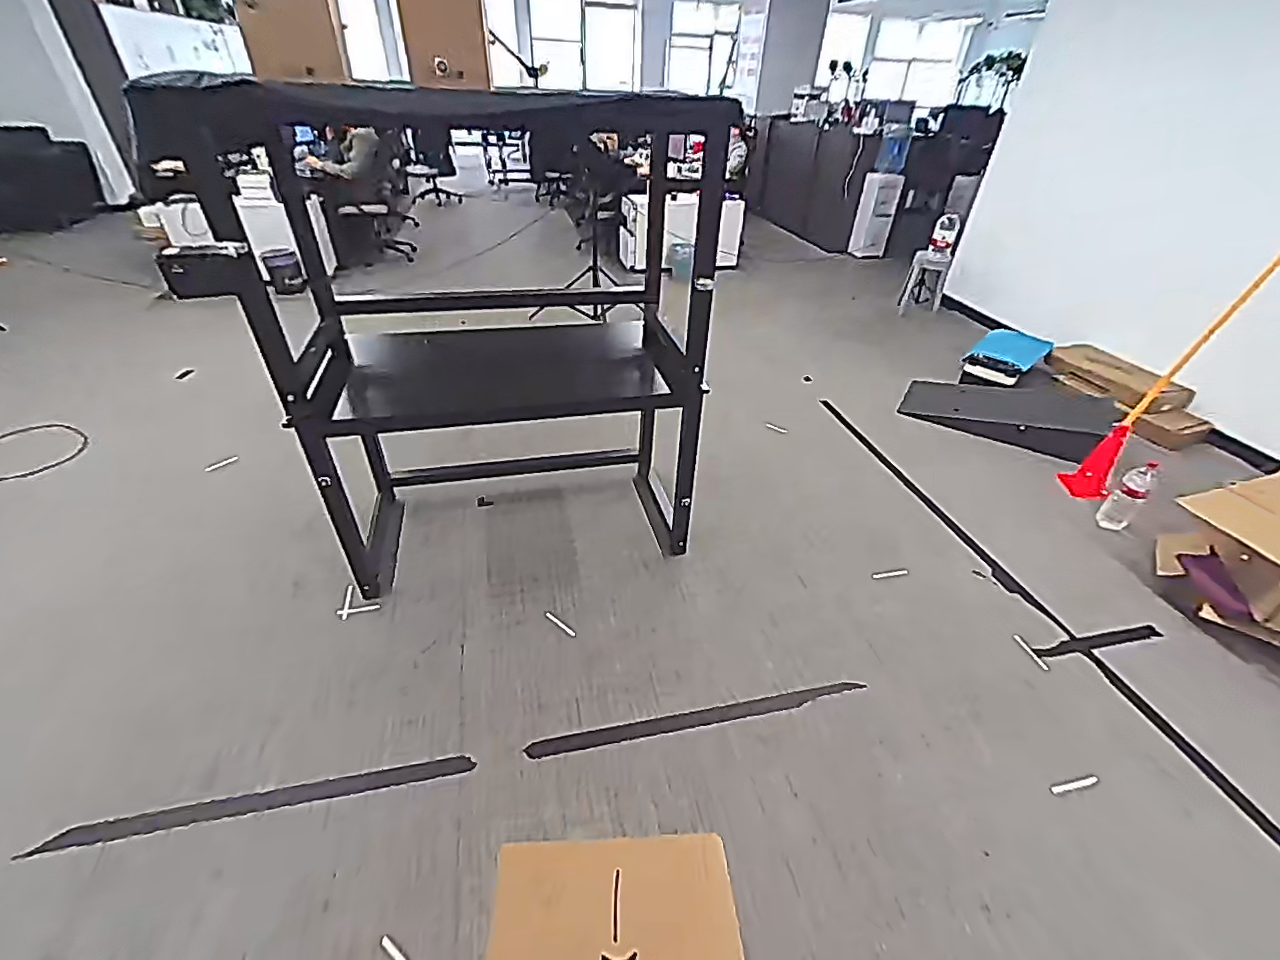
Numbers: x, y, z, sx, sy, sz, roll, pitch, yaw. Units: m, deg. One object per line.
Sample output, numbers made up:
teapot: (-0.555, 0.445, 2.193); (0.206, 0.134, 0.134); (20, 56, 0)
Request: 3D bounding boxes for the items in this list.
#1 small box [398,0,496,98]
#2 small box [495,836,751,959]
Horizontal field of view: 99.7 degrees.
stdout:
small box: (-0.405, -0.927, 1.155); (0.168, 0.176, 0.179); (-6, 36, -9)
small box: (-0.014, 0.380, 0.372); (0.168, 0.176, 0.179); (2, 34, -6)
